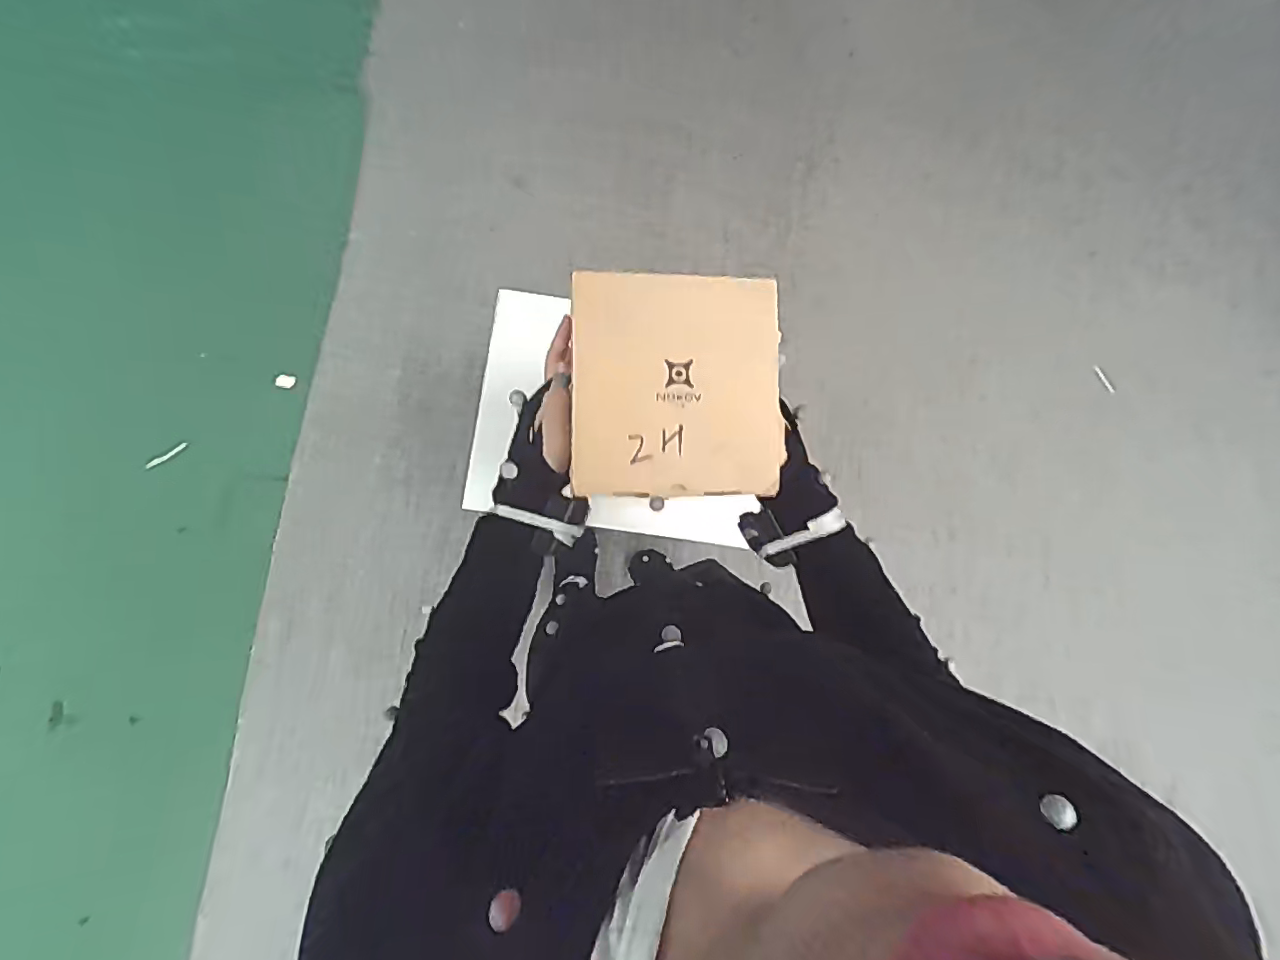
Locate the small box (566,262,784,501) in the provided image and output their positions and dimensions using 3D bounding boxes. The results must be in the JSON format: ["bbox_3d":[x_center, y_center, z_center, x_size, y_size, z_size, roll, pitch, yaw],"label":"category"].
[{"bbox_3d":[0.019,-0.071,0.482,0.168,0.176,0.179,-1,88,-5],"label":"small box"}]
